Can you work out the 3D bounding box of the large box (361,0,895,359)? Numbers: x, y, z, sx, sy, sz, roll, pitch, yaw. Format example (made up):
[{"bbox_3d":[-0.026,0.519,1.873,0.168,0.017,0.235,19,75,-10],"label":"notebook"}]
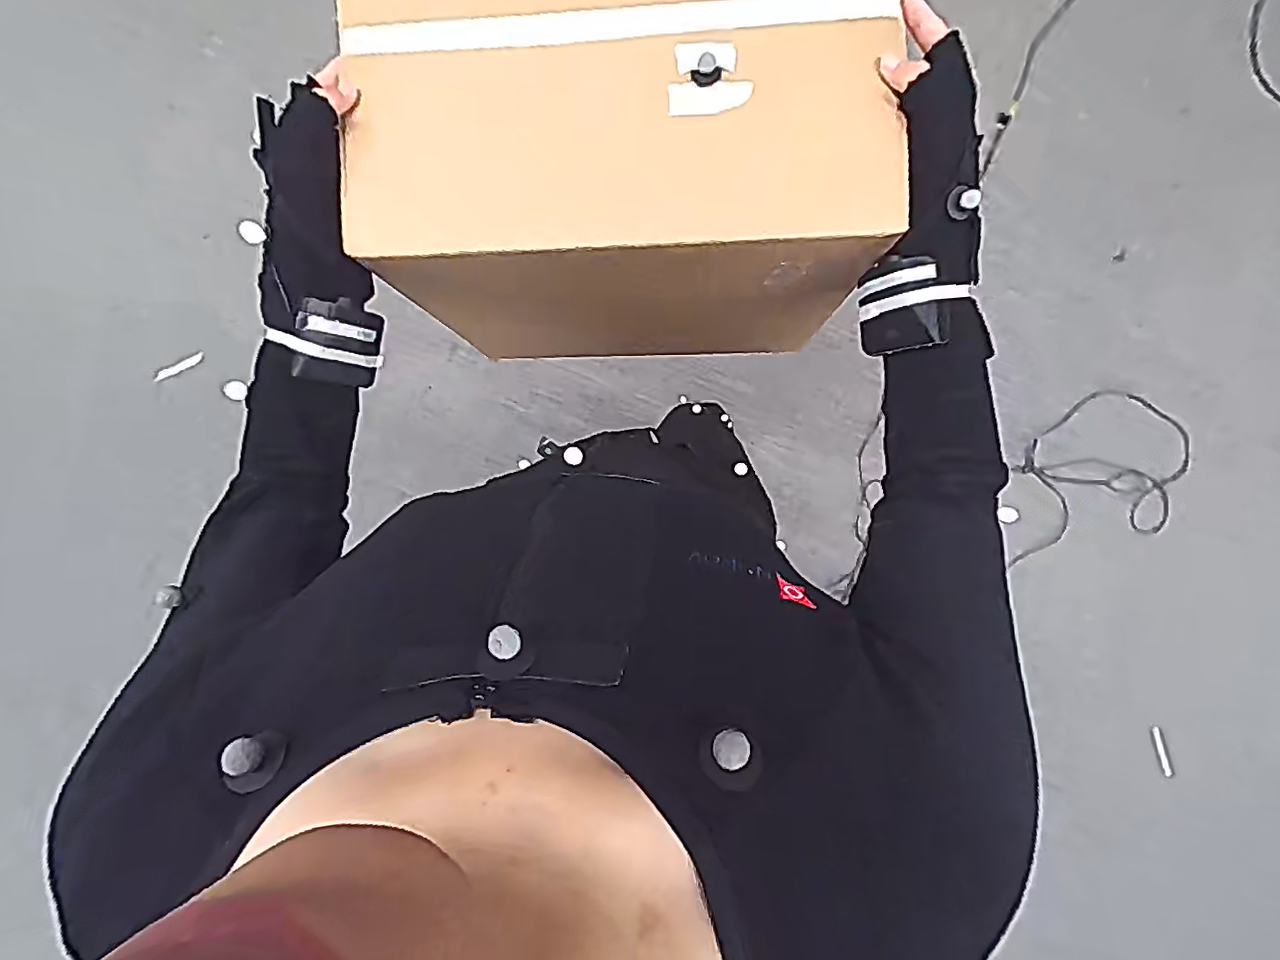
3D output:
[{"bbox_3d":[-0.011,-0.324,0.557,0.408,0.320,0.320,-2,88,3],"label":"large box"}]

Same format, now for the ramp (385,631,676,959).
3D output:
[{"bbox_3d":[-0.302,0.969,1.496,0.509,0.206,0.991,20,95,3],"label":"ramp"}]
